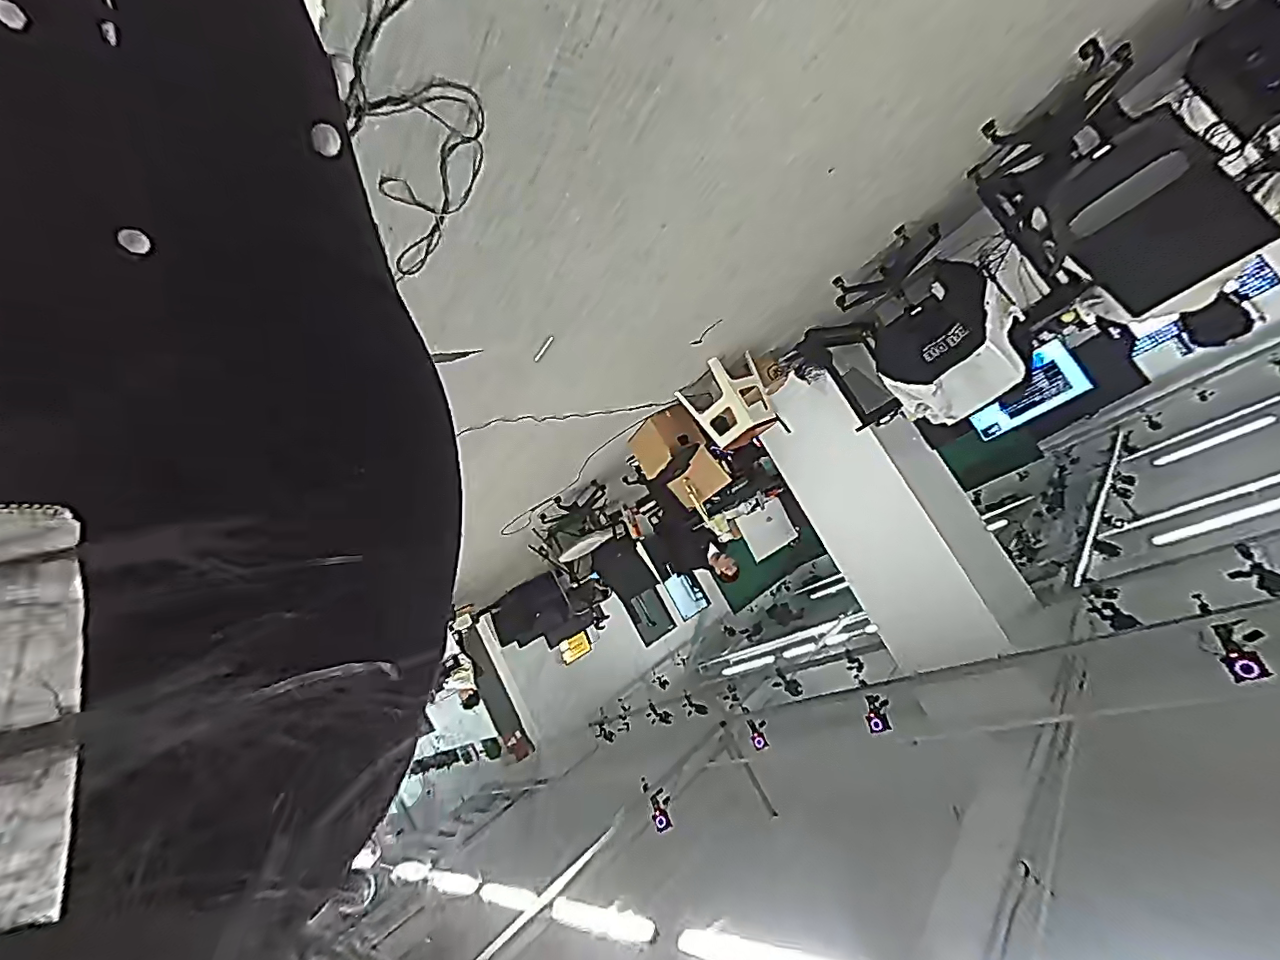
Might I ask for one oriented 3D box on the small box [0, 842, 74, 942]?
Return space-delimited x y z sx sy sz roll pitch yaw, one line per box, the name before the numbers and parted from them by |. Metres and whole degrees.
small box | -1.580 1.045 1.359 0.179 0.176 0.168 -19 166 -45
